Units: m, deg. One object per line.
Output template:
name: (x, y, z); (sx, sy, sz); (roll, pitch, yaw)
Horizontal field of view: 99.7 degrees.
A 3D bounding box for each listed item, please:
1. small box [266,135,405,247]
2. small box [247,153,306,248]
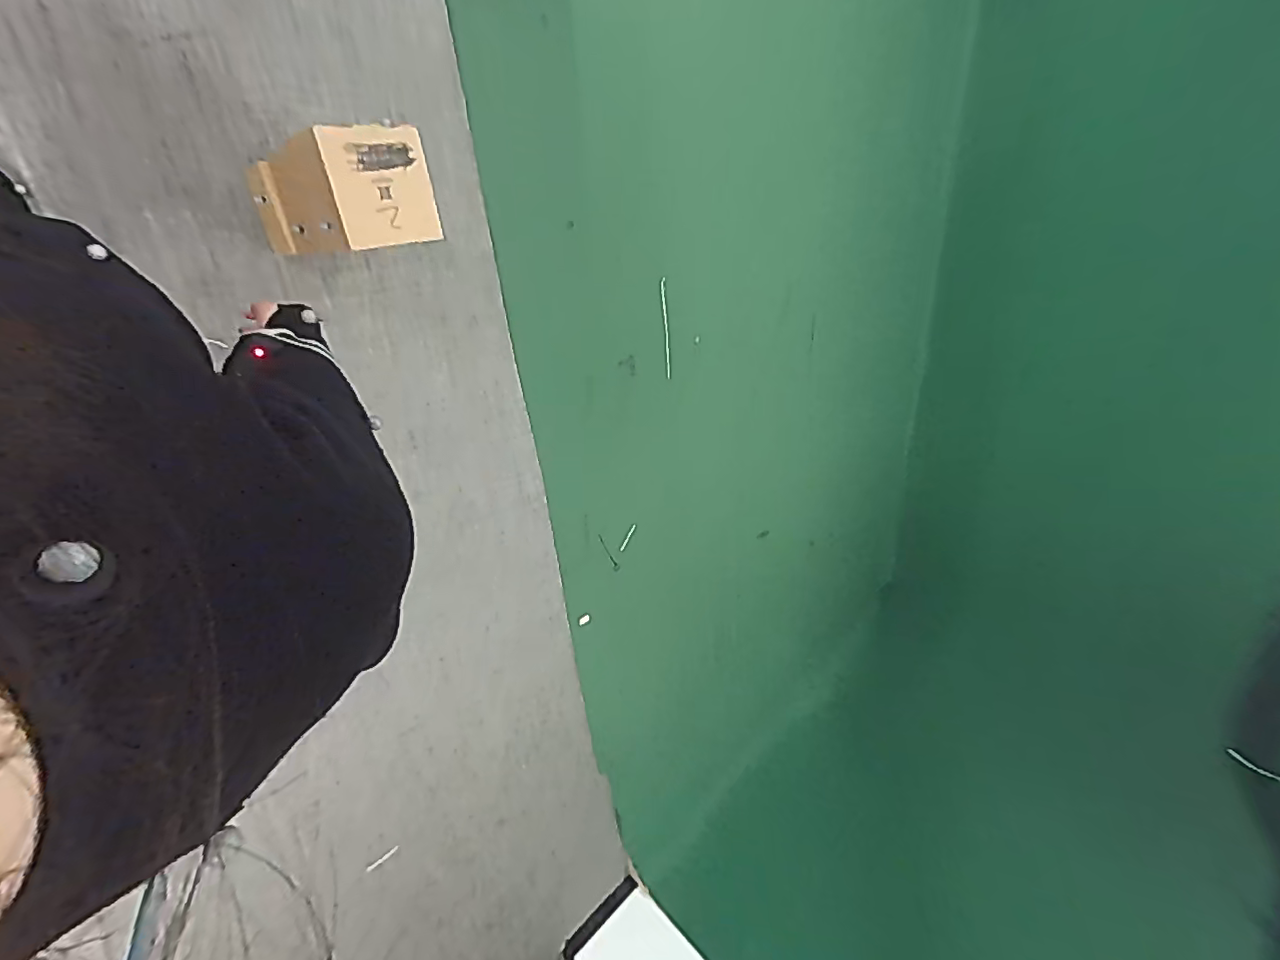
small box: (-0.589, -0.555, 1.049); (0.168, 0.176, 0.179); (-27, 124, -37)
small box: (-0.707, -0.596, 1.155); (0.179, 0.176, 0.168); (-29, 125, -35)
